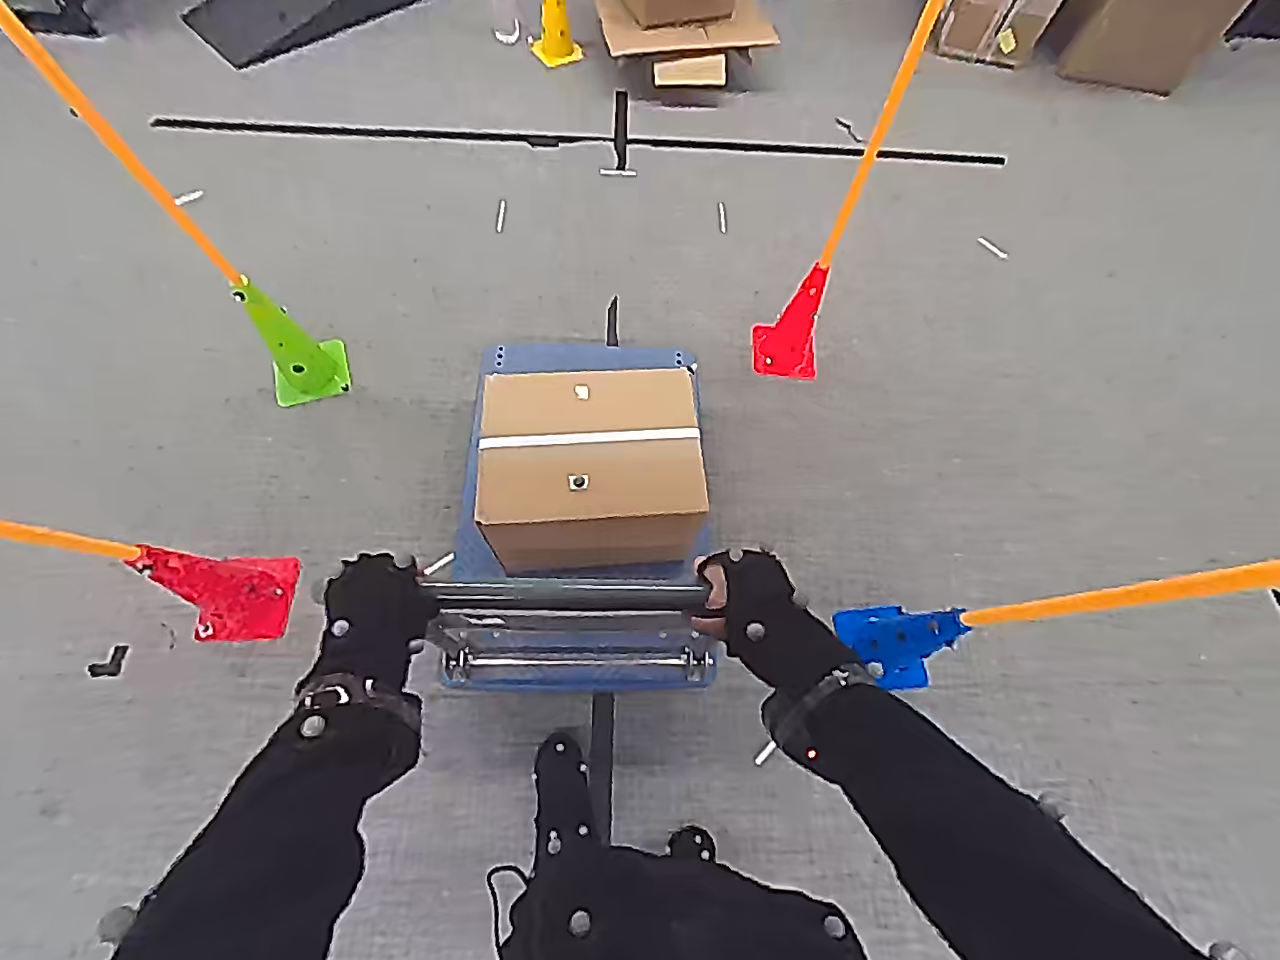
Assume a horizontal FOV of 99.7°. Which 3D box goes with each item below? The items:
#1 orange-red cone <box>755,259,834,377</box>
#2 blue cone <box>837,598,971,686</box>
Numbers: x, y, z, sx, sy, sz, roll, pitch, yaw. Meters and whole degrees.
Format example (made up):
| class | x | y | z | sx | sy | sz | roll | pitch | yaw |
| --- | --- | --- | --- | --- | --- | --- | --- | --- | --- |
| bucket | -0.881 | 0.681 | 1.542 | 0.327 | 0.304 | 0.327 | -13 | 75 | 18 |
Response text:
| class | x | y | z | sx | sy | sz | roll | pitch | yaw |
| --- | --- | --- | --- | --- | --- | --- | --- | --- | --- |
| orange-red cone | 0.478 | -0.489 | 1.564 | 0.199 | 0.360 | 0.198 | 7 | 65 | -1 |
| blue cone | 0.610 | 0.335 | 1.199 | 0.193 | 0.380 | 0.192 | -2 | 64 | -5 |
